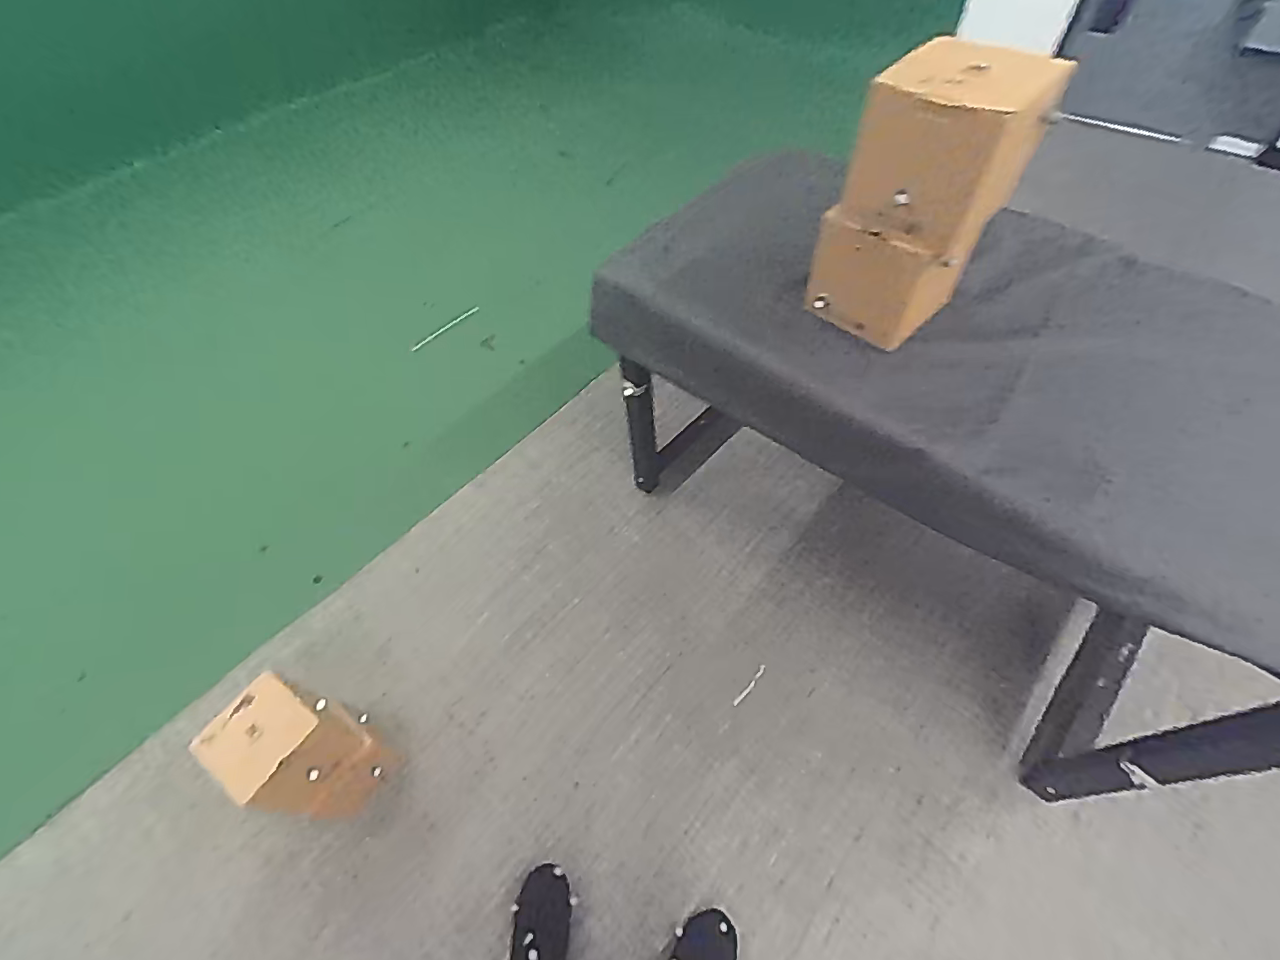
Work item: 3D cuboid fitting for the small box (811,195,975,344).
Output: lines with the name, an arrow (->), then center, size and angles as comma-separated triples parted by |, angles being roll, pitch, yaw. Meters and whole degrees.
small box -> 0.388, -0.344, 0.842 | 0.179, 0.176, 0.168 | -39, 62, -21

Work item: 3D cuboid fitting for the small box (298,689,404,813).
small box -> -0.651, 0.590, 1.171 | 0.179, 0.176, 0.168 | 29, 61, 23

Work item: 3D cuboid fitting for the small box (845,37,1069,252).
small box -> 0.395, -0.433, 0.703 | 0.168, 0.176, 0.179 | 36, 65, 26

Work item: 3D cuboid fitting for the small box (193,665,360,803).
small box -> -0.684, 0.493, 1.041 | 0.179, 0.176, 0.168 | 29, 61, 21
